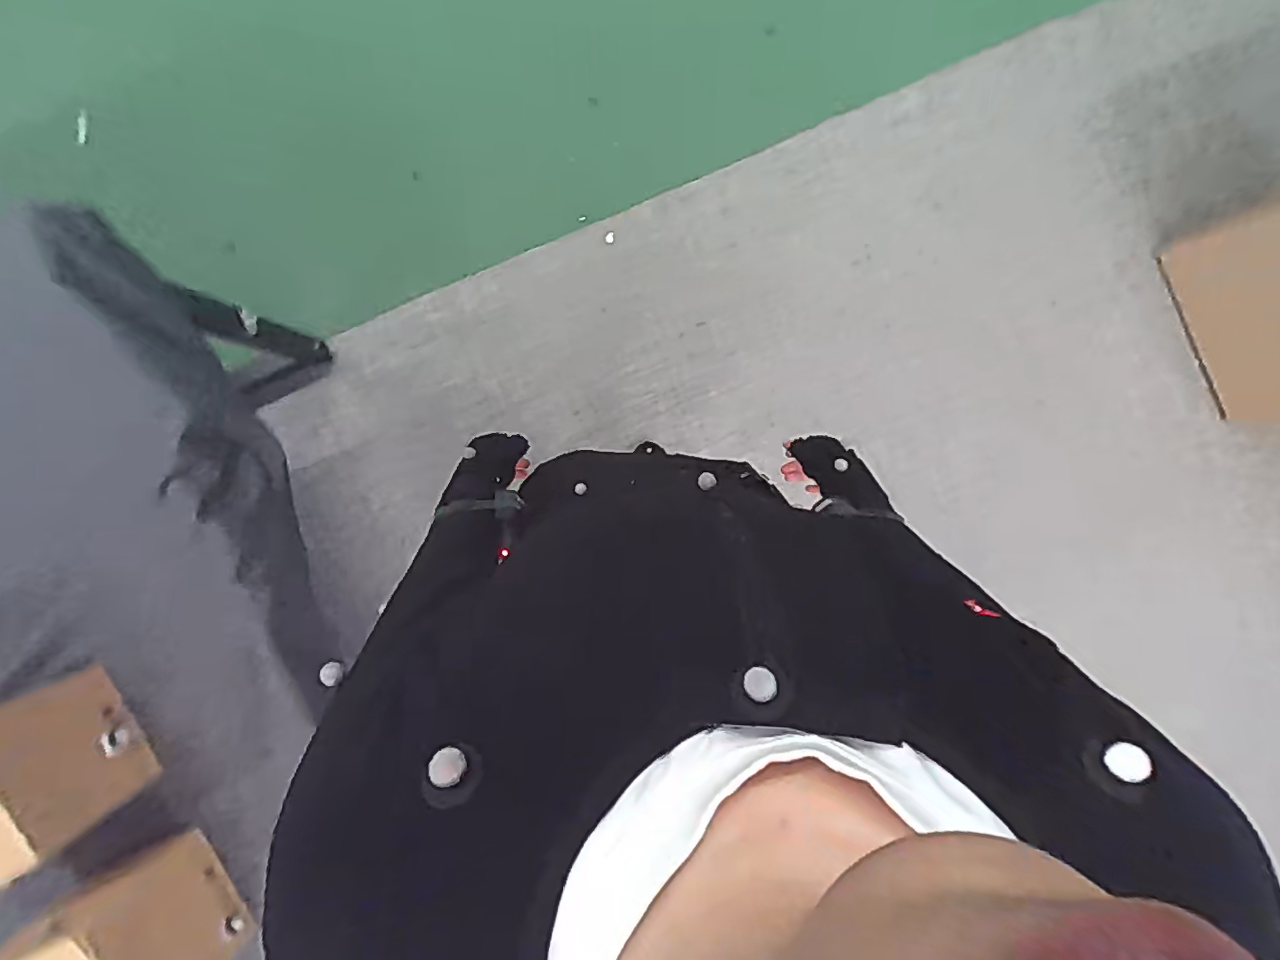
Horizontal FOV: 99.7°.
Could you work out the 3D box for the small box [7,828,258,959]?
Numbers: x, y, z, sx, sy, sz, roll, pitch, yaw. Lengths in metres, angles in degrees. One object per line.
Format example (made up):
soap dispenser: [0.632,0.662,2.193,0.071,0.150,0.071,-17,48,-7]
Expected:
small box: [-0.606,0.569,0.646,0.179,0.176,0.168,-27,94,-1]

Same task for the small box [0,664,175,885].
small box: [-0.718,0.350,0.631,0.179,0.176,0.168,-29,95,-3]
